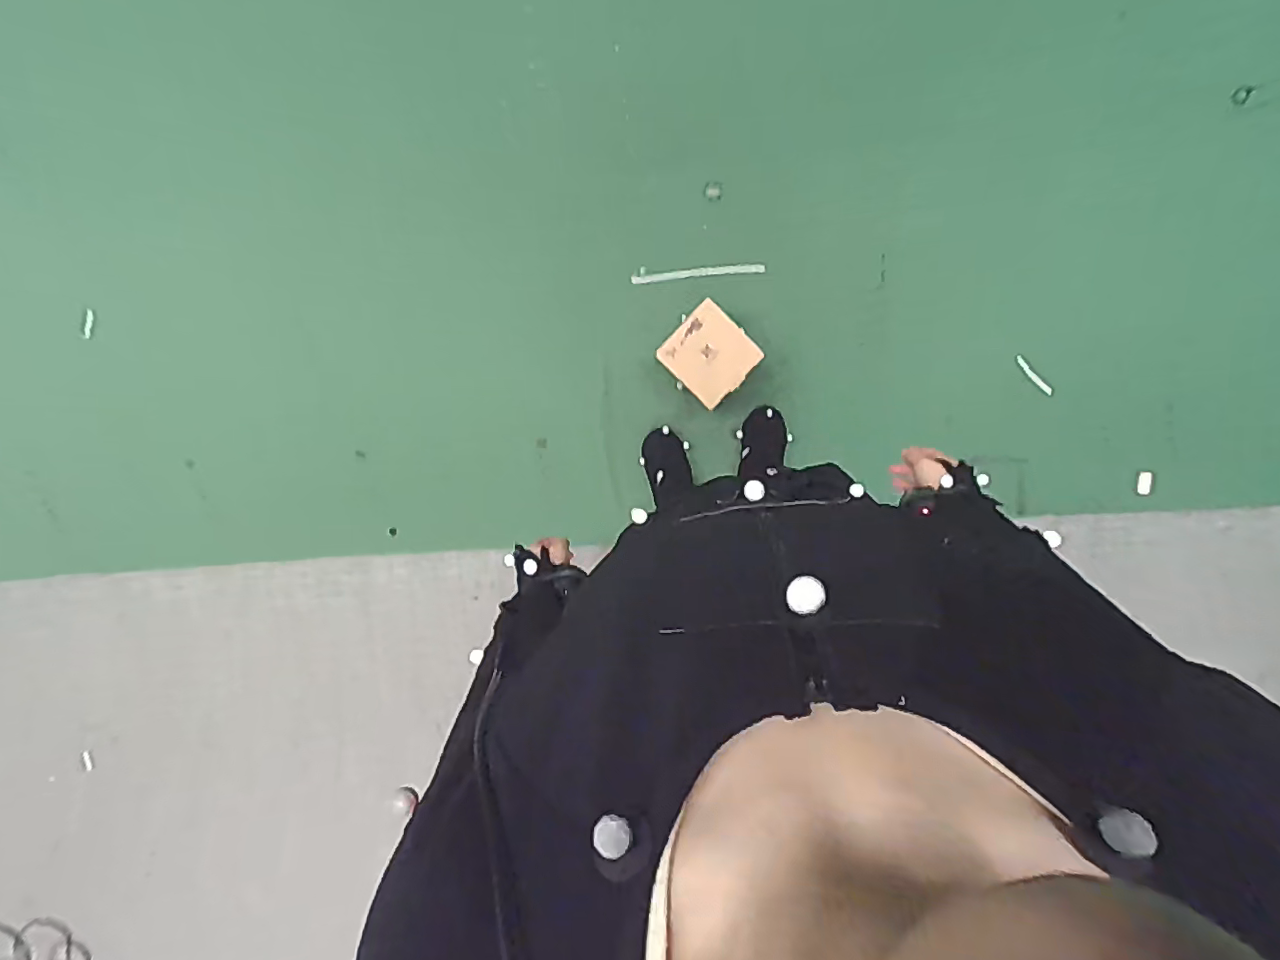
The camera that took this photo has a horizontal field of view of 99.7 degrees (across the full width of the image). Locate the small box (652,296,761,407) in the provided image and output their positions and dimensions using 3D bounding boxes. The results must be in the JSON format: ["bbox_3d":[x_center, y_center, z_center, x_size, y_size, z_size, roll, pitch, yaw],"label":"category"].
[{"bbox_3d":[0.147,-0.289,1.230,0.179,0.176,0.168,44,101,-5],"label":"small box"}]
